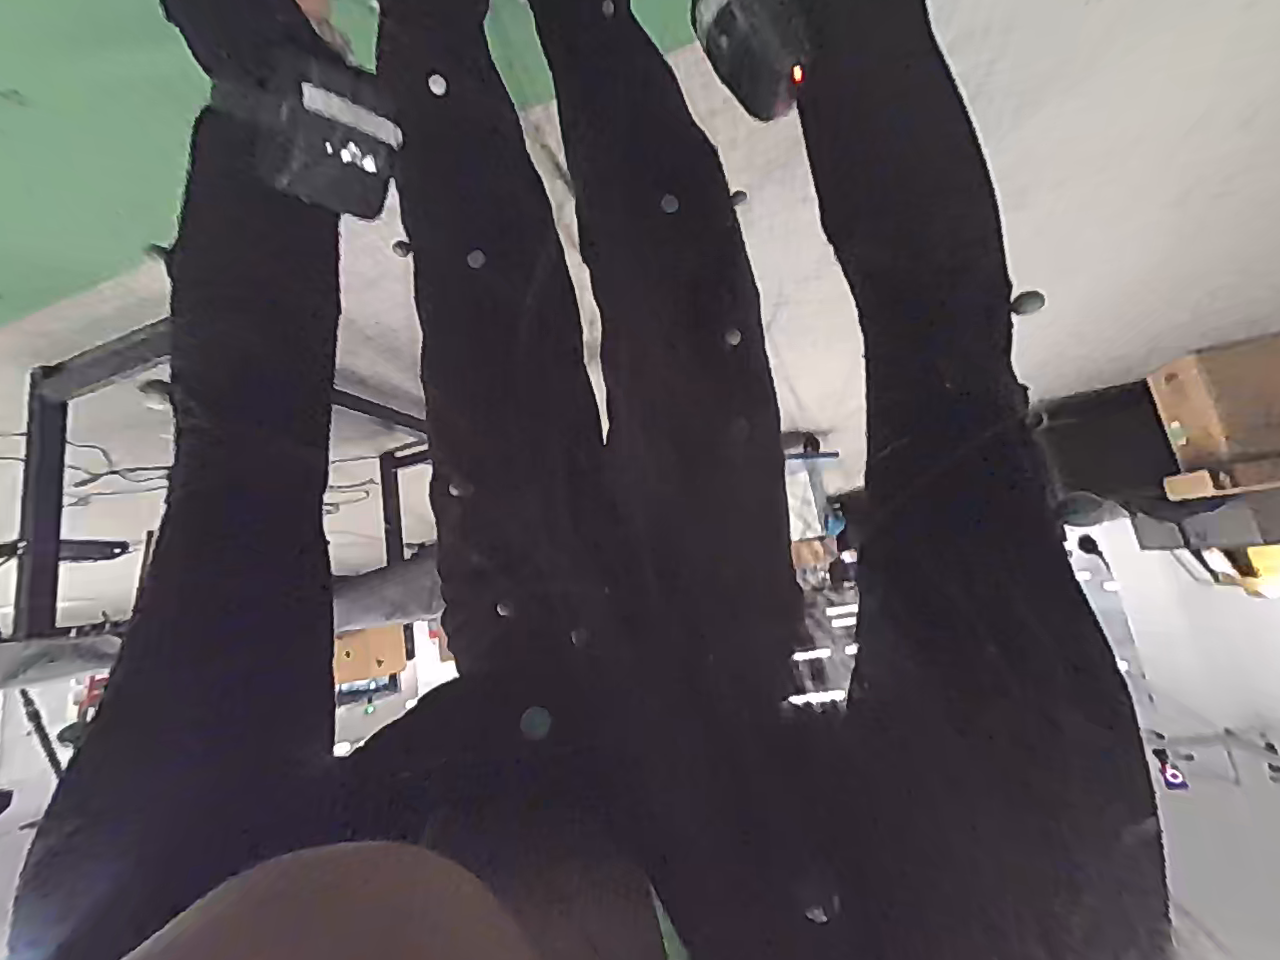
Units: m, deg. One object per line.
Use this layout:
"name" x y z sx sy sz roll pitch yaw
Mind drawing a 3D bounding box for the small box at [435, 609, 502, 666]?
"small box" -0.632 0.573 1.983 0.168 0.176 0.179 -12 169 15

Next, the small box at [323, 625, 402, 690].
"small box" -0.927 0.587 1.804 0.168 0.176 0.179 -13 168 13
